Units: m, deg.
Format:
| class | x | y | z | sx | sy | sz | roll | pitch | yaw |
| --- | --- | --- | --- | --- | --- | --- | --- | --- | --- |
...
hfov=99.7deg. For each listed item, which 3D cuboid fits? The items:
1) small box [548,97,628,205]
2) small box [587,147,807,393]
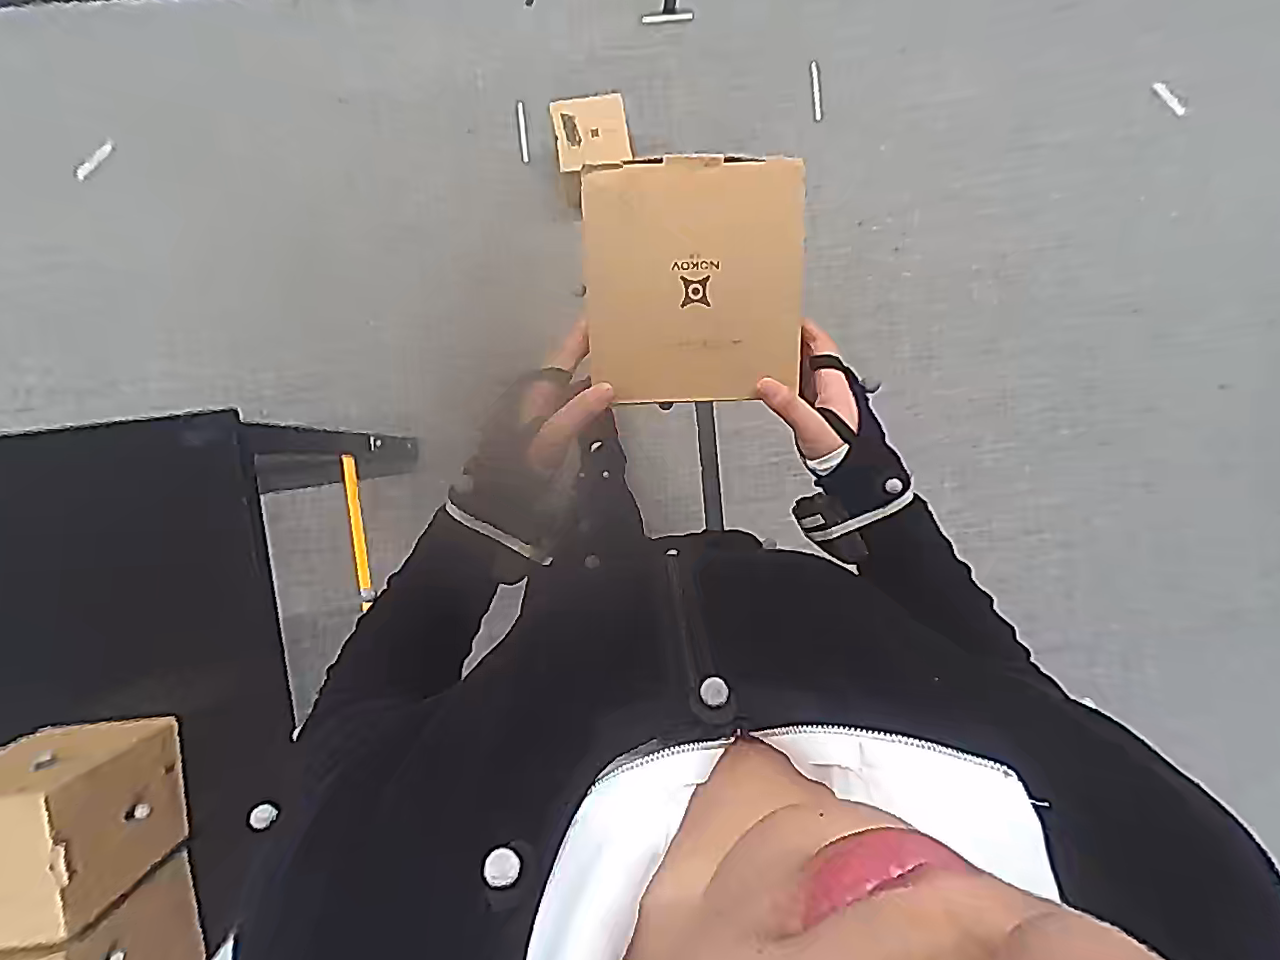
| class | x | y | z | sx | sy | sz | roll | pitch | yaw |
| --- | --- | --- | --- | --- | --- | --- | --- | --- | --- |
| small box | -0.123 | -0.818 | 1.363 | 0.179 | 0.176 | 0.168 | -10 | 93 | -3 |
| small box | 0.039 | -0.172 | 0.486 | 0.168 | 0.176 | 0.179 | -2 | 104 | -2 |
